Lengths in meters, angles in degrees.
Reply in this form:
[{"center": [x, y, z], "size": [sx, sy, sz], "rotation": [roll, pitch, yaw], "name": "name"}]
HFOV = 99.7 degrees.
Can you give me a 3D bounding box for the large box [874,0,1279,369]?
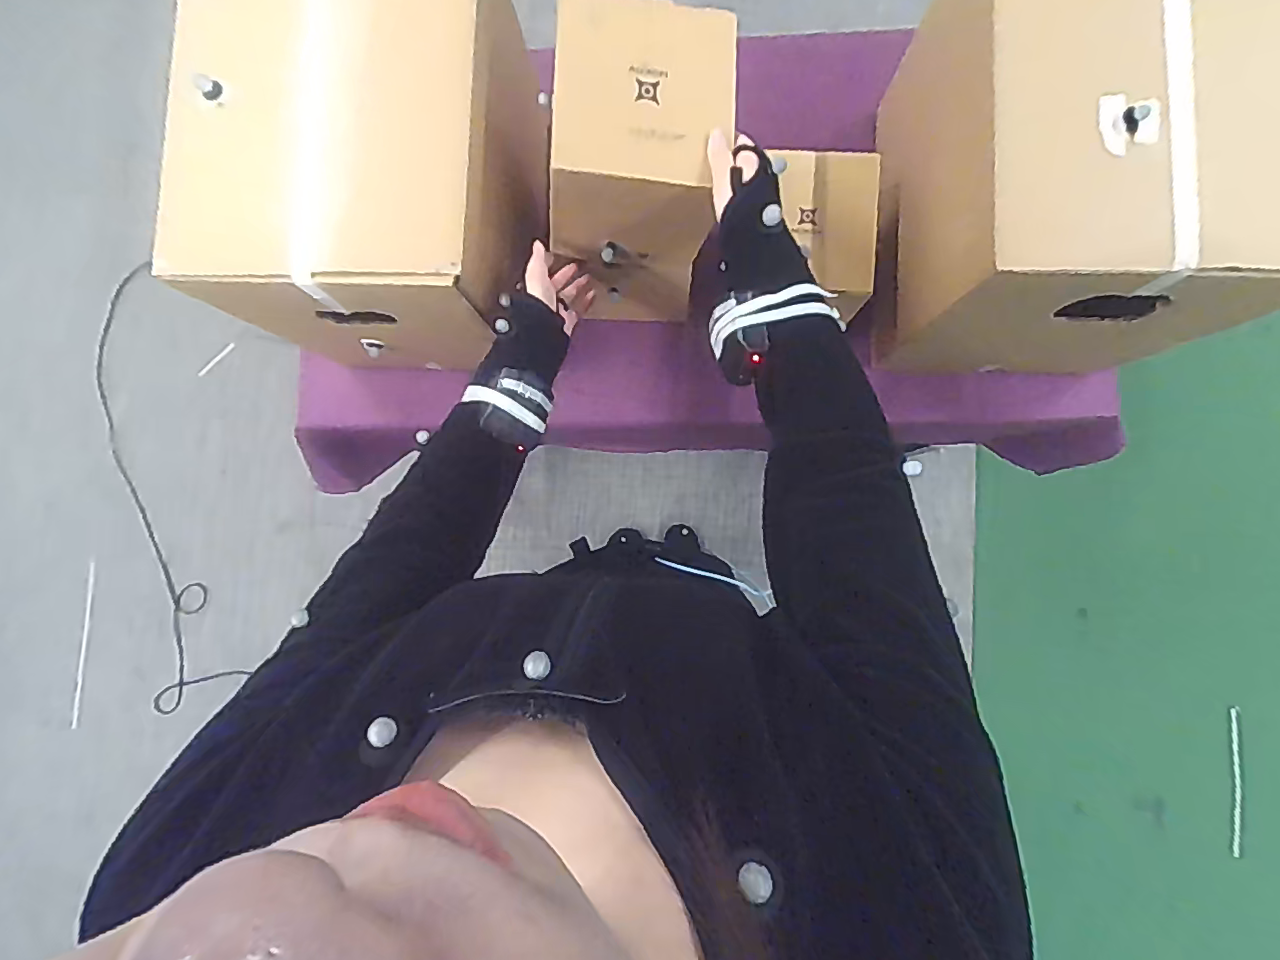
[{"center": [0.497, -0.374, 0.653], "size": [0.320, 0.320, 0.408], "rotation": [3, 87, 3], "name": "large box"}]
